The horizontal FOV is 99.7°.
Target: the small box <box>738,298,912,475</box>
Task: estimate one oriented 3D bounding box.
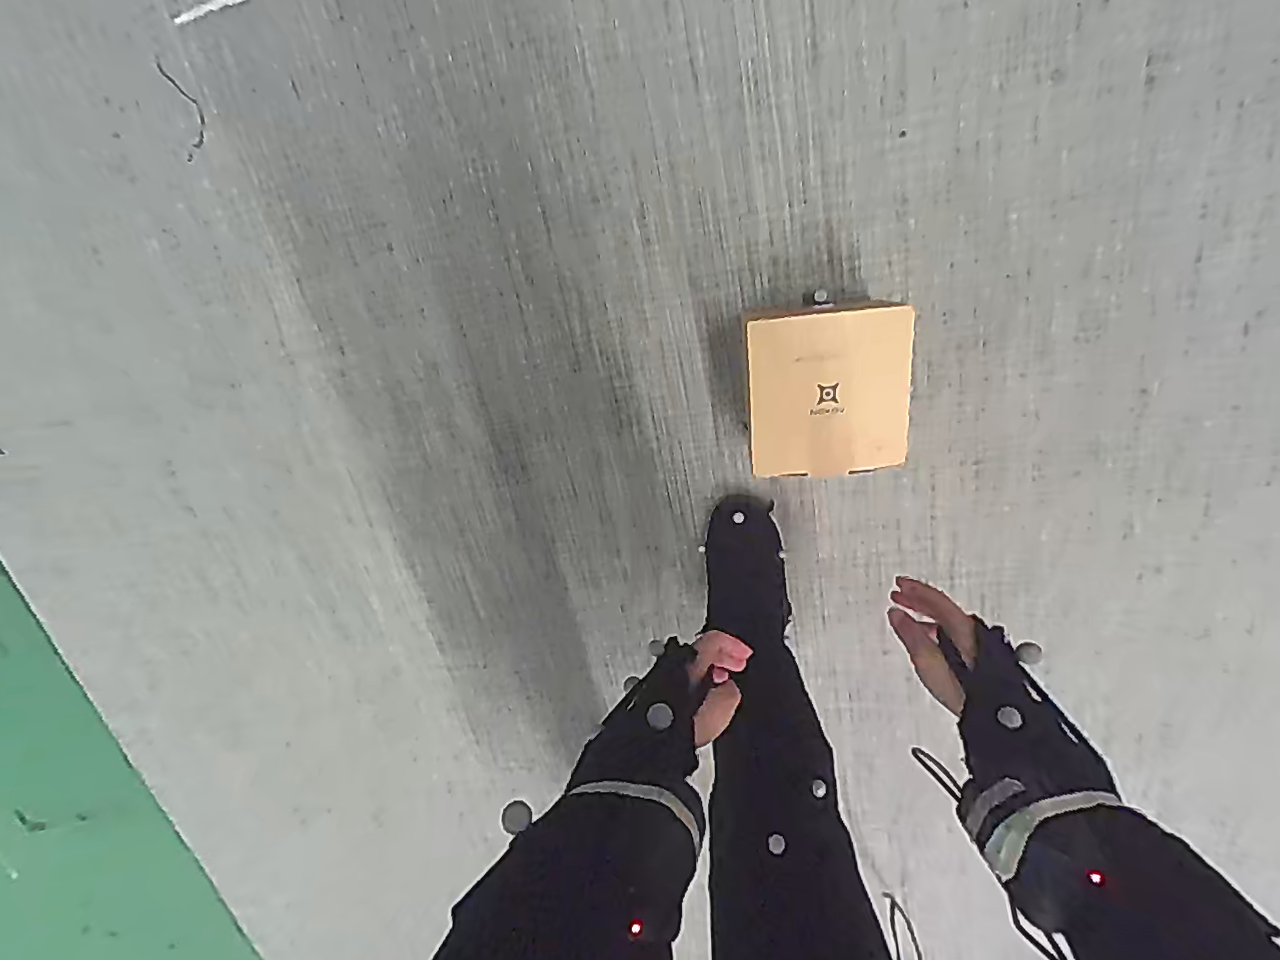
[{"bbox_3d":[0.207,-0.118,0.647,0.168,0.176,0.179,-4,109,8],"label":"small box"}]
